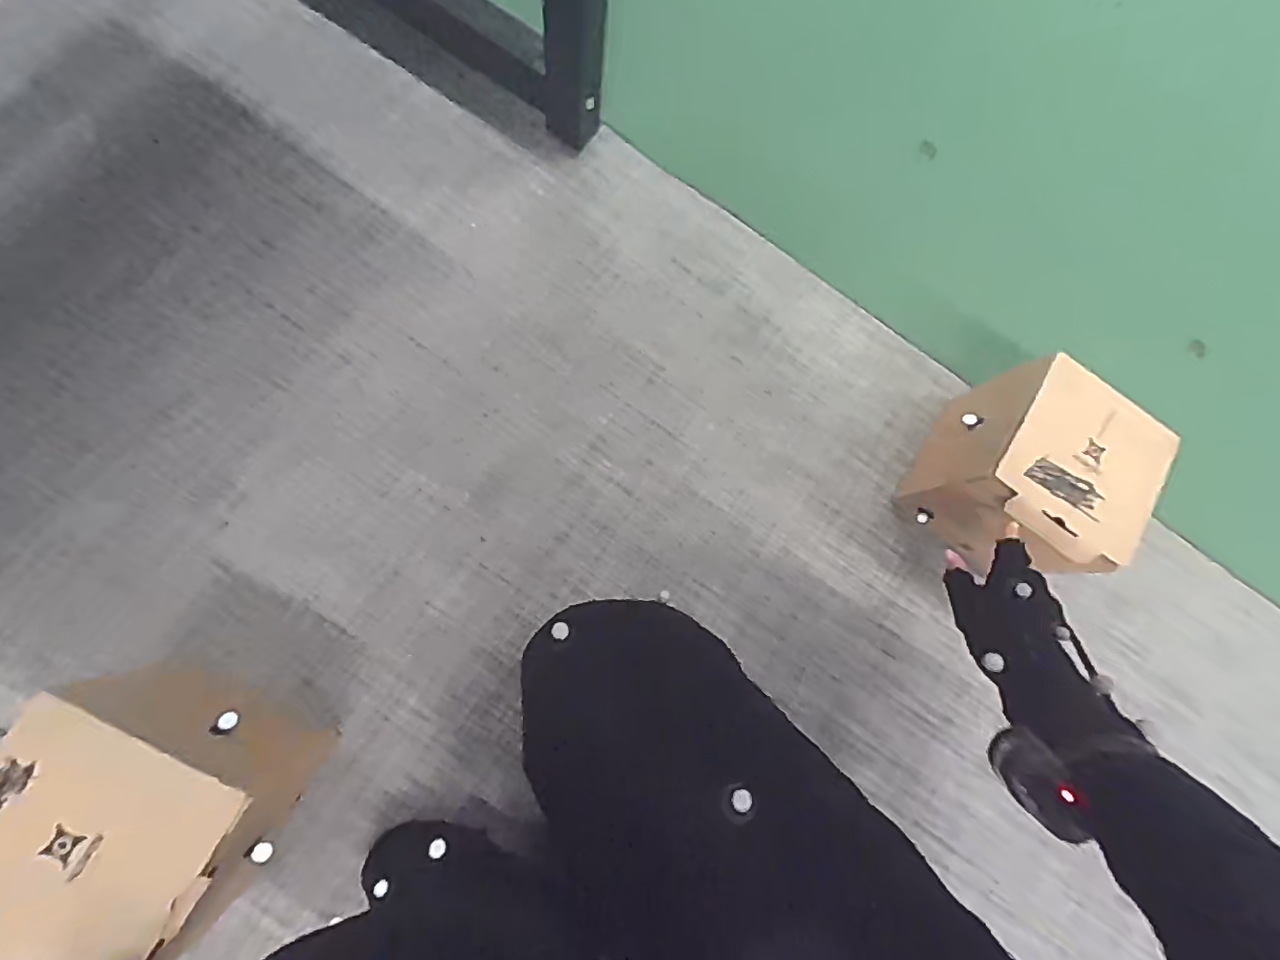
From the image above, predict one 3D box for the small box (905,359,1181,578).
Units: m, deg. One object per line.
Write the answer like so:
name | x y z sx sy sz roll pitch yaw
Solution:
small box | 0.450 -0.001 0.634 0.168 0.176 0.179 36 77 0
